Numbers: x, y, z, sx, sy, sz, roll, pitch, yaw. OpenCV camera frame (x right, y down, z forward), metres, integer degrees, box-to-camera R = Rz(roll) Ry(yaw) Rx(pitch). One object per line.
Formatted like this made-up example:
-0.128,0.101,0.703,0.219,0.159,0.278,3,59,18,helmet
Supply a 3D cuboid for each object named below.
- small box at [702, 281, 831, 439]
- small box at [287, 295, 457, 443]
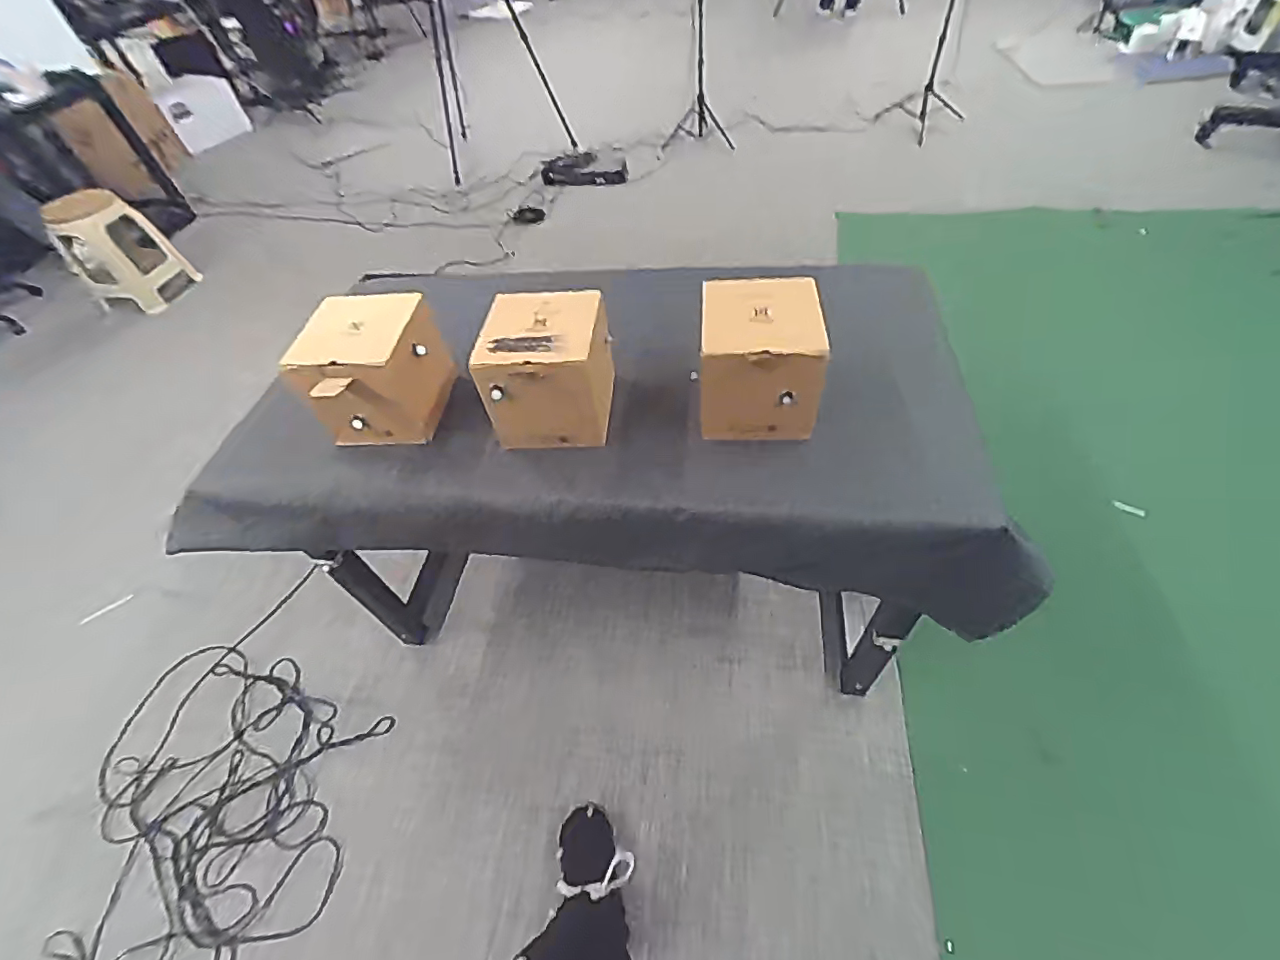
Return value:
0.179,-0.176,0.814,0.168,0.176,0.179,1,50,6,small box
-0.417,-0.180,0.880,0.168,0.176,0.179,0,51,5,small box
